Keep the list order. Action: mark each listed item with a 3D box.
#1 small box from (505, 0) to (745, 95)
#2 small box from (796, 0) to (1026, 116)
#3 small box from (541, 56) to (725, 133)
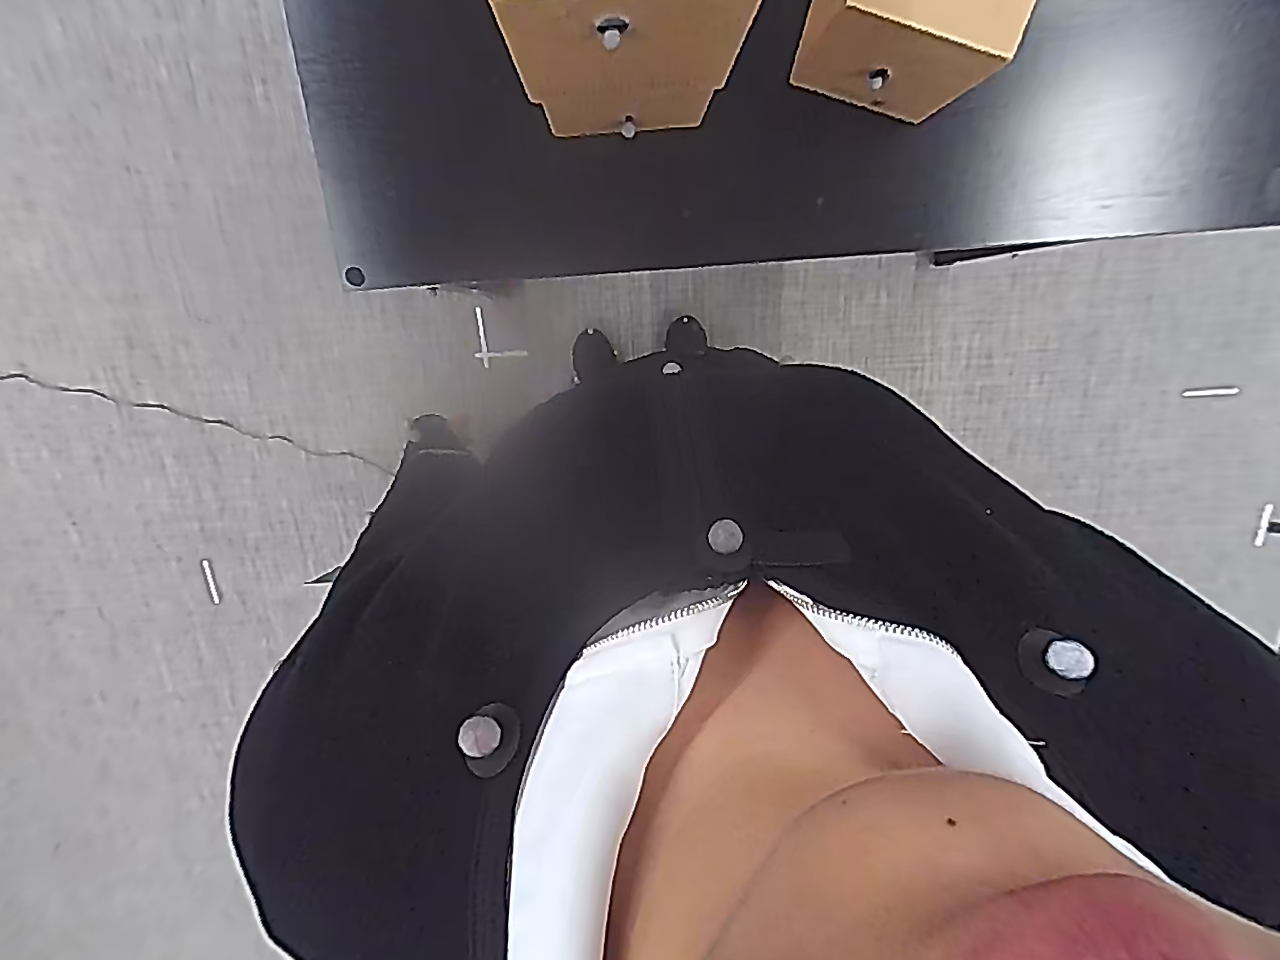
[{"bbox_3d":[-0.014,-0.406,0.392,0.179,0.176,0.168,-5,107,-1],"label":"small box"},{"bbox_3d":[0.275,-0.507,0.544,0.168,0.176,0.179,13,105,-7],"label":"small box"},{"bbox_3d":[-0.018,-0.472,0.545,0.179,0.176,0.168,-5,107,-1],"label":"small box"}]
